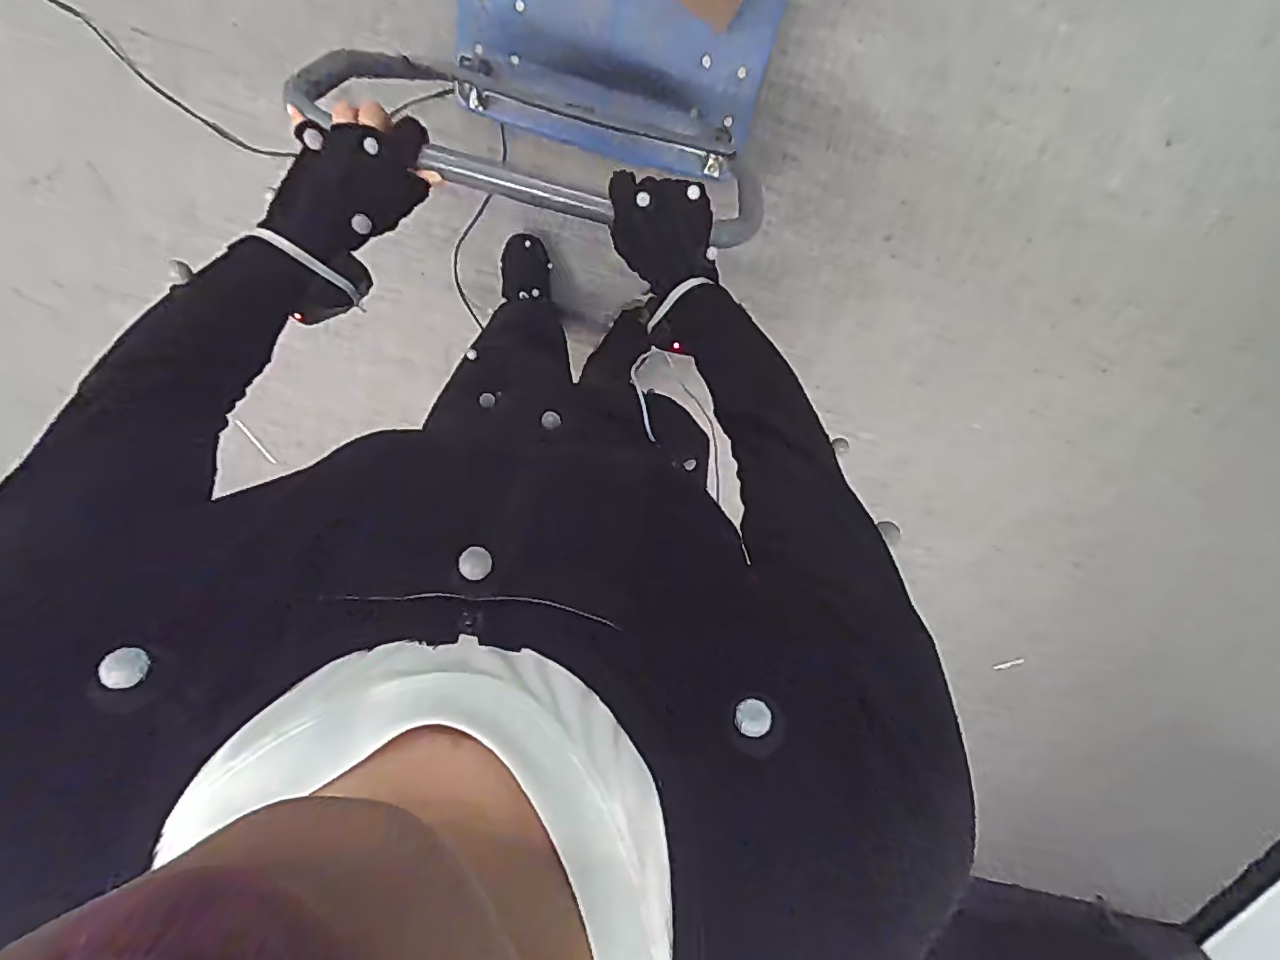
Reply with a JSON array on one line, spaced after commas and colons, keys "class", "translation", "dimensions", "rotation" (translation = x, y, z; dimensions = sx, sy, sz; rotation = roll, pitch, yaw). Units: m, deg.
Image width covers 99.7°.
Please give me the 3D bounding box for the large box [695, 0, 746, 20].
[{"class": "large box", "translation": [0.048, -0.932, 0.737], "dimensions": [0.408, 0.320, 0.320], "rotation": [26, 121, -12]}]
